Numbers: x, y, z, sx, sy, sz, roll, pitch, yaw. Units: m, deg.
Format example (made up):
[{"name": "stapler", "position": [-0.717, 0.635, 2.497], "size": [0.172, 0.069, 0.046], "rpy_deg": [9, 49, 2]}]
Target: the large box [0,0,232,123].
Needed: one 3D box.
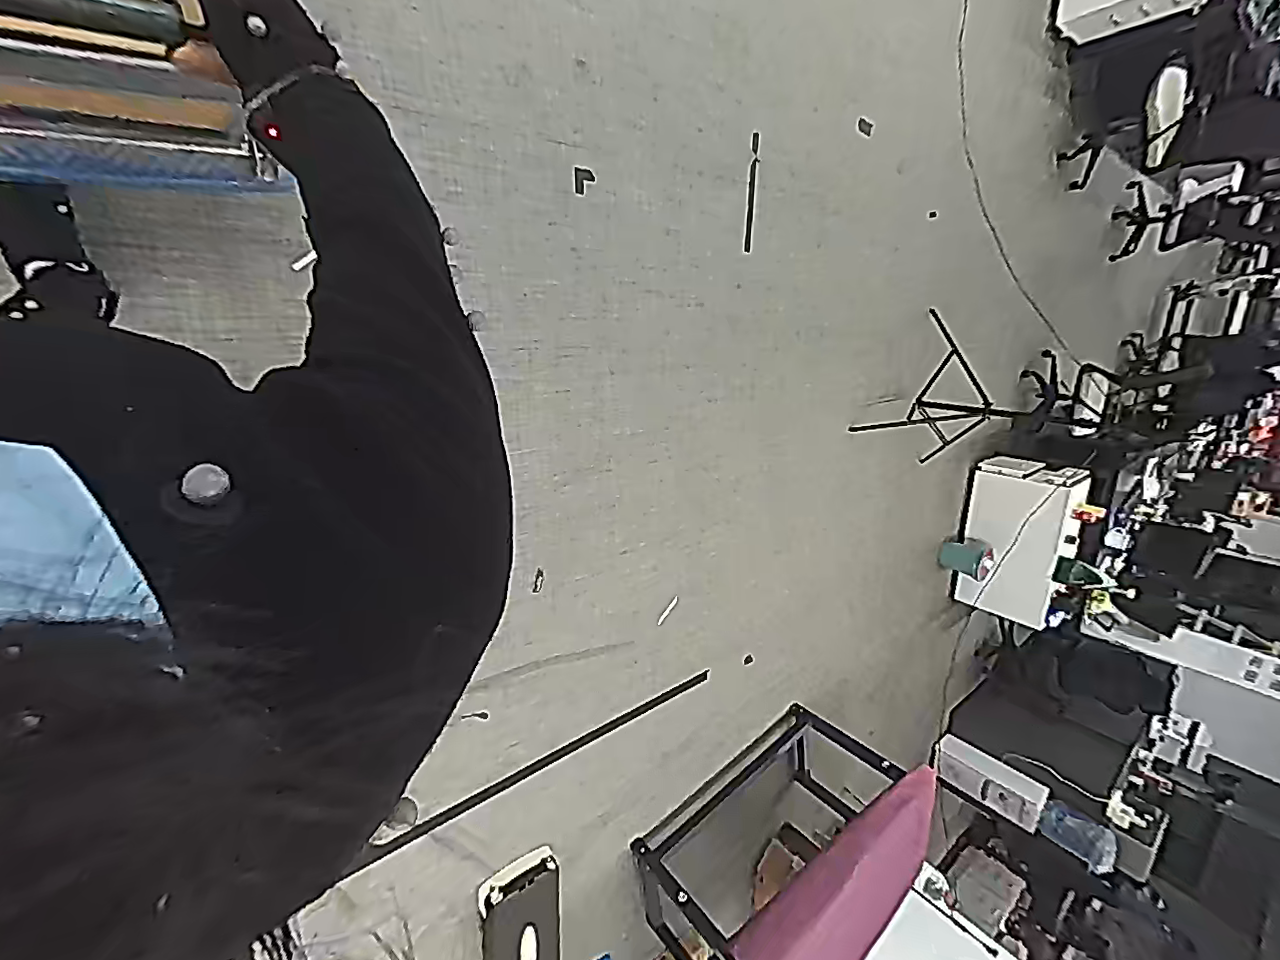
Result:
[{"name": "large box", "position": [-0.803, -0.686, 0.674], "size": [0.408, 0.320, 0.320], "rpy_deg": [-17, 114, -36]}]
